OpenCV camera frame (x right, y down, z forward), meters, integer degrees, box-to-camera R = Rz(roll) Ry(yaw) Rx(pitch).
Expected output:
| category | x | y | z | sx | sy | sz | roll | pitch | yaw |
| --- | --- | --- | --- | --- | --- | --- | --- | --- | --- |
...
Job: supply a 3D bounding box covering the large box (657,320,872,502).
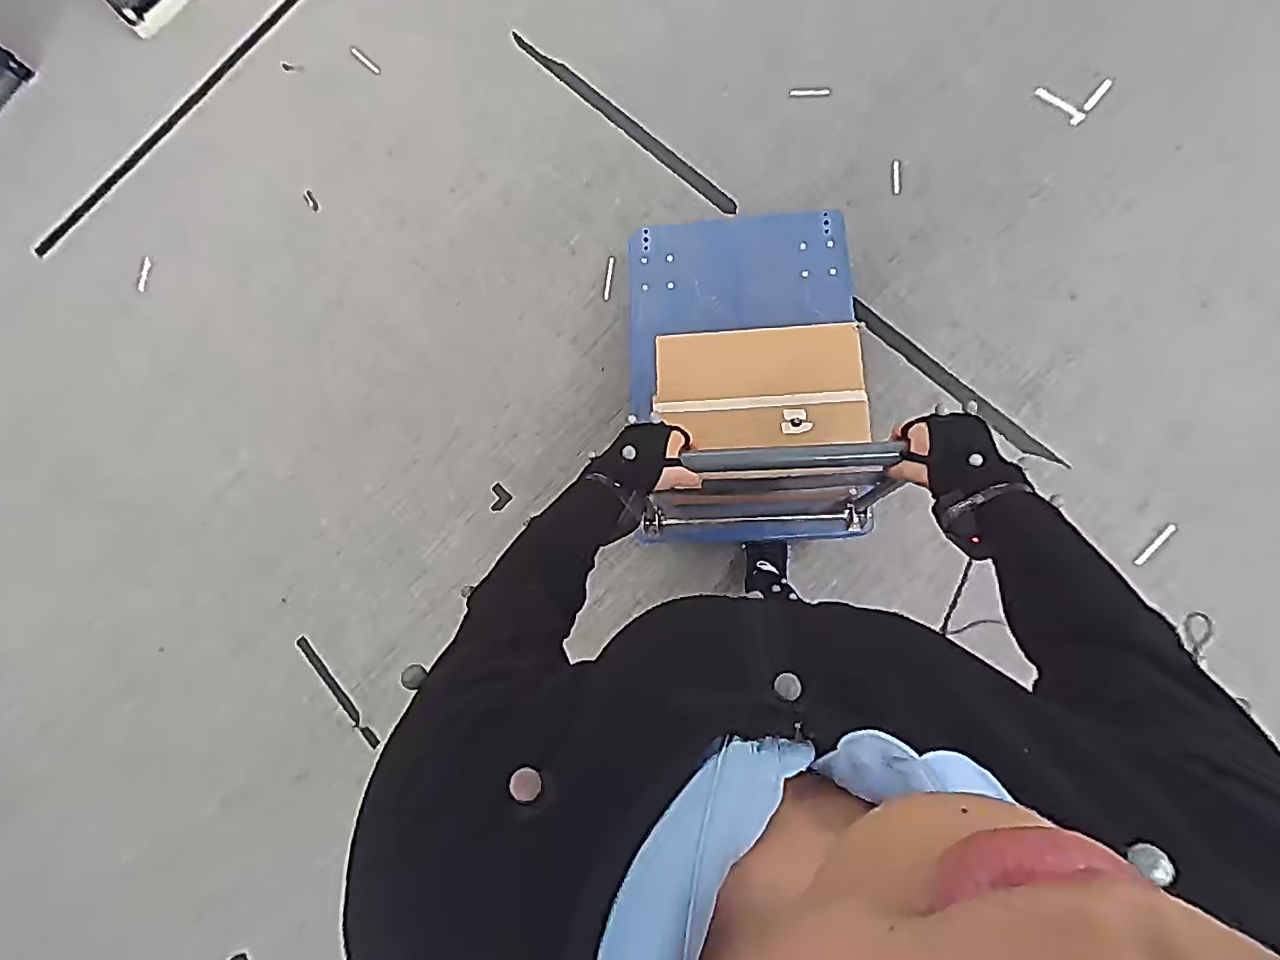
| category | x | y | z | sx | sy | sz | roll | pitch | yaw |
| --- | --- | --- | --- | --- | --- | --- | --- | --- | --- |
| large box | 0.253 | -0.132 | 1.216 | 0.408 | 0.320 | 0.320 | -3 | 80 | 5 |
